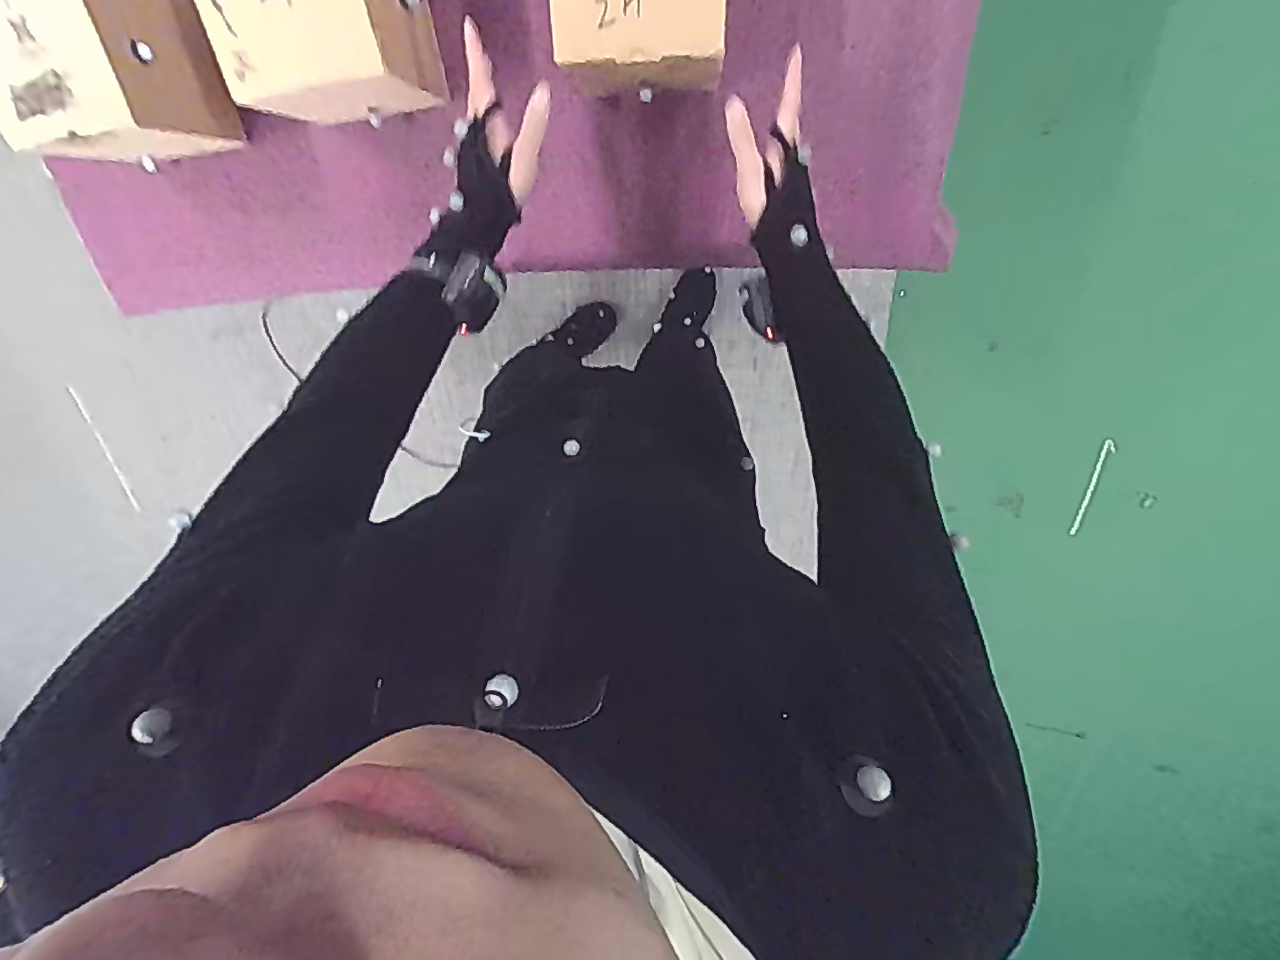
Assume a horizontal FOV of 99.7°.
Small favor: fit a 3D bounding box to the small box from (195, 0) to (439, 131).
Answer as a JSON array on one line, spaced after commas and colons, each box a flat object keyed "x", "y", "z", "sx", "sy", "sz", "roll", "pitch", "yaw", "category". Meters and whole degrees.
[{"x": -0.342, "y": -0.500, "z": 0.595, "sx": 0.179, "sy": 0.176, "sz": 0.168, "roll": -5, "pitch": 115, "yaw": 7, "category": "small box"}]

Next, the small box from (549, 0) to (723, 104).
[{"x": 0.002, "y": -0.511, "z": 0.558, "sx": 0.168, "sy": 0.176, "sz": 0.179, "roll": 1, "pitch": 116, "yaw": 5, "category": "small box"}]

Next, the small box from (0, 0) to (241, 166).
[{"x": -0.622, "y": -0.476, "z": 0.630, "sx": 0.168, "sy": 0.176, "sz": 0.179, "roll": -5, "pitch": 115, "yaw": 7, "category": "small box"}]
